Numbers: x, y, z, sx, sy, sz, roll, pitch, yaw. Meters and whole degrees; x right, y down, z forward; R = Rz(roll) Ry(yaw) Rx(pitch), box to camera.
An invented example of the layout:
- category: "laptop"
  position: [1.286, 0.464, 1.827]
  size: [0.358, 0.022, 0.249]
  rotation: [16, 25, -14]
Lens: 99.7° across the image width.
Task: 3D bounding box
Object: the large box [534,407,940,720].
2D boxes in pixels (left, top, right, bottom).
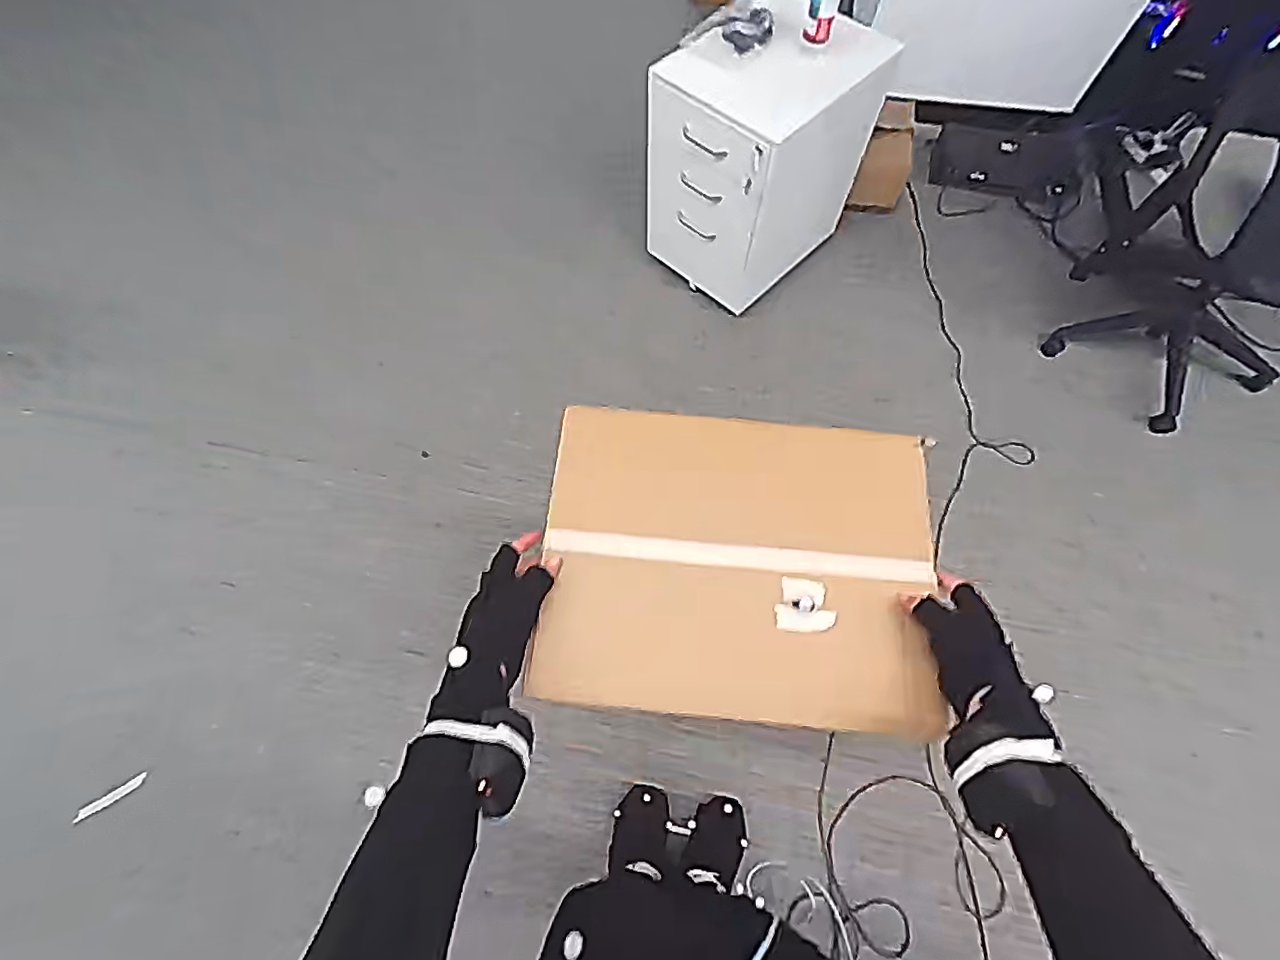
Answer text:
- category: "large box"
  position: [0.100, 0.123, 0.711]
  size: [0.408, 0.320, 0.320]
  rotation: [5, 71, 1]
